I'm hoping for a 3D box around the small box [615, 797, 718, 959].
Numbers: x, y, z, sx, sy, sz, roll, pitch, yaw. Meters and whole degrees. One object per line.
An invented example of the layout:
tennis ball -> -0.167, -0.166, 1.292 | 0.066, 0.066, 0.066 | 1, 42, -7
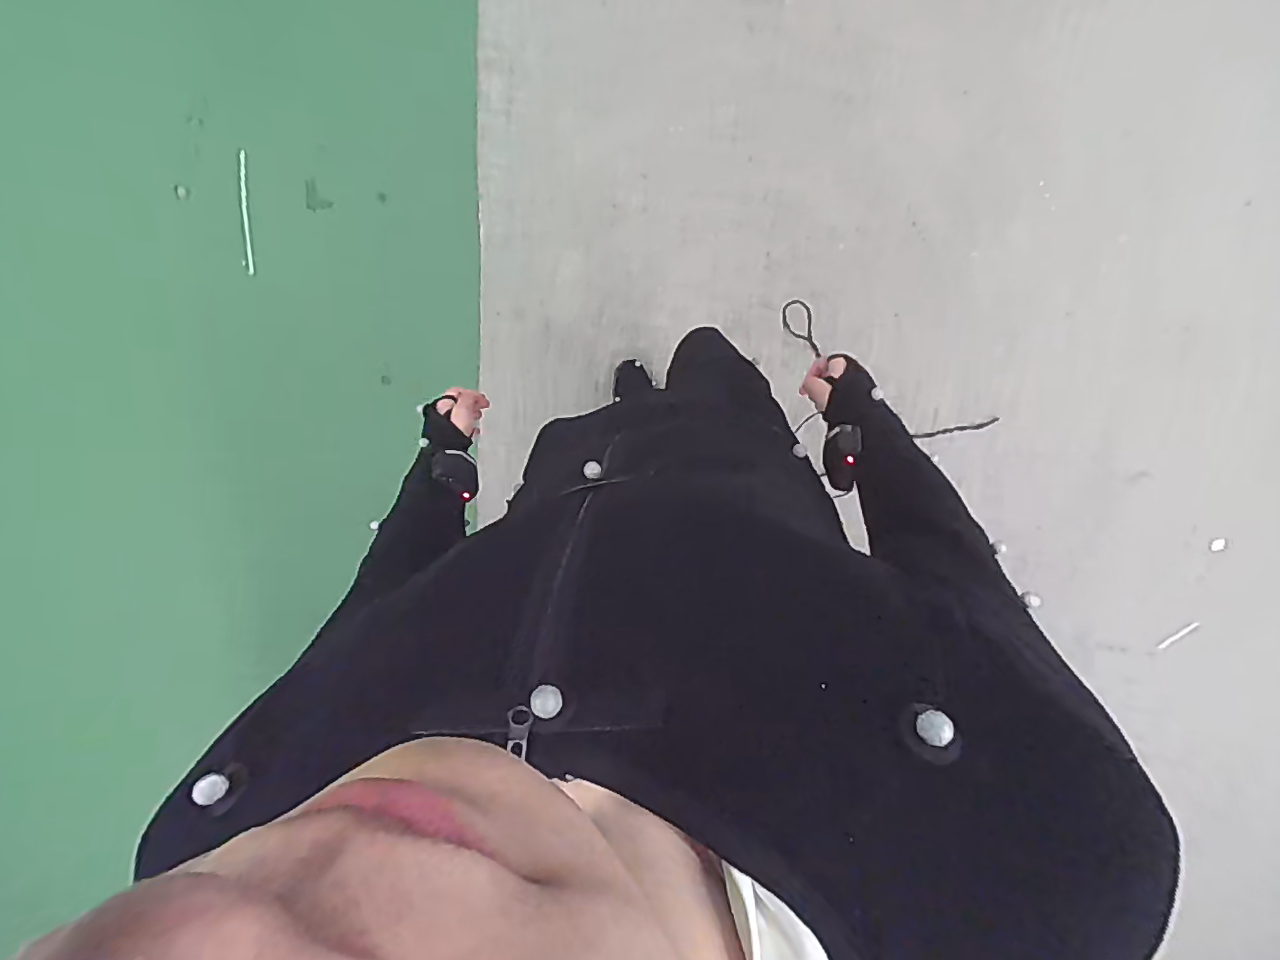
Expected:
small box -> 0.046, 0.708, 0.964 | 0.168, 0.176, 0.179 | 2, 103, 2
